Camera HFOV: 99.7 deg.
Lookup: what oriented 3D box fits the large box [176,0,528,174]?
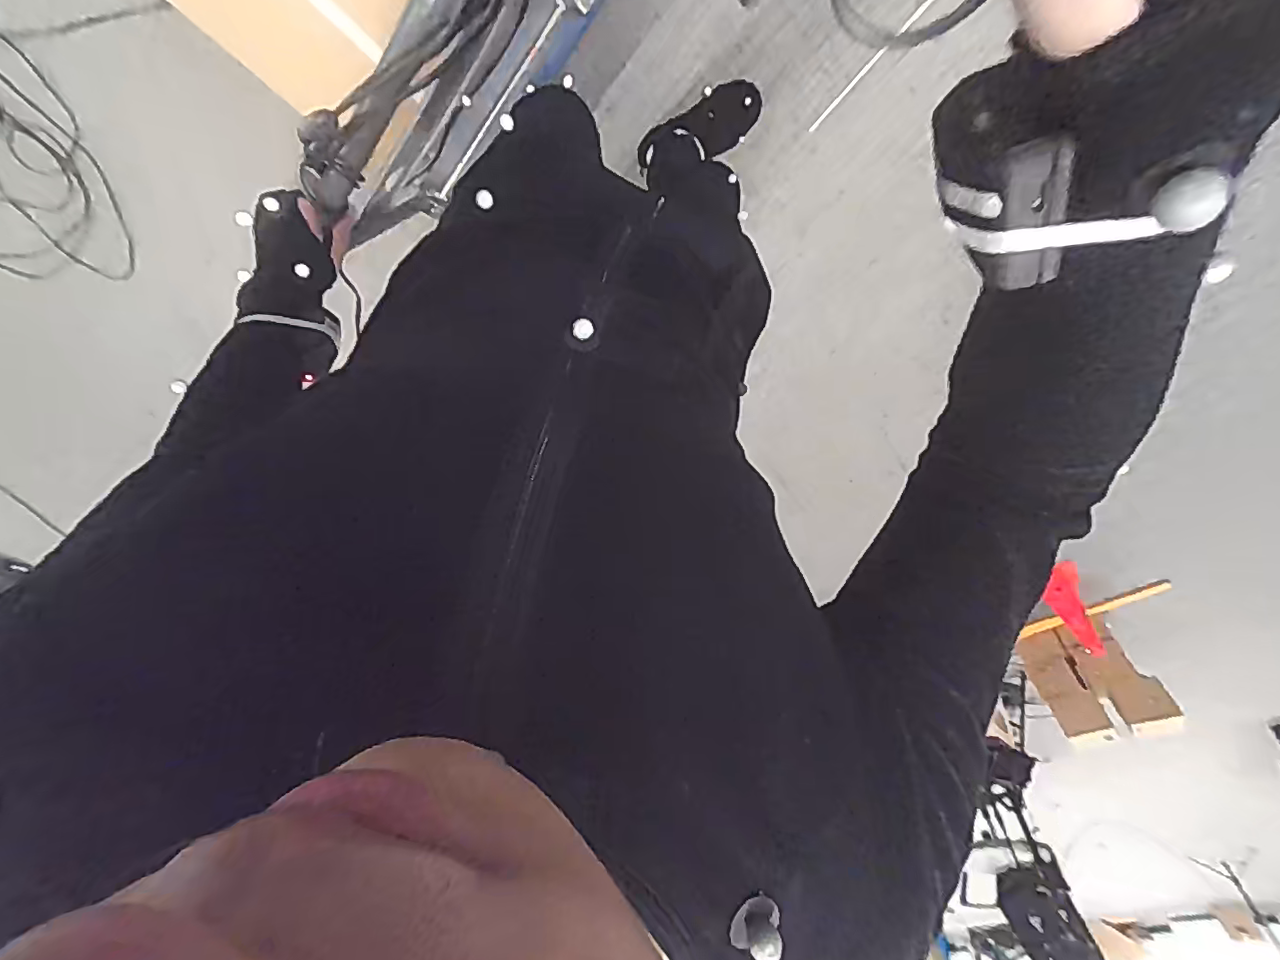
[{"bbox_3d":[-0.445,-0.781,0.838,0.408,0.320,0.320,37,124,-26],"label":"large box"}]
